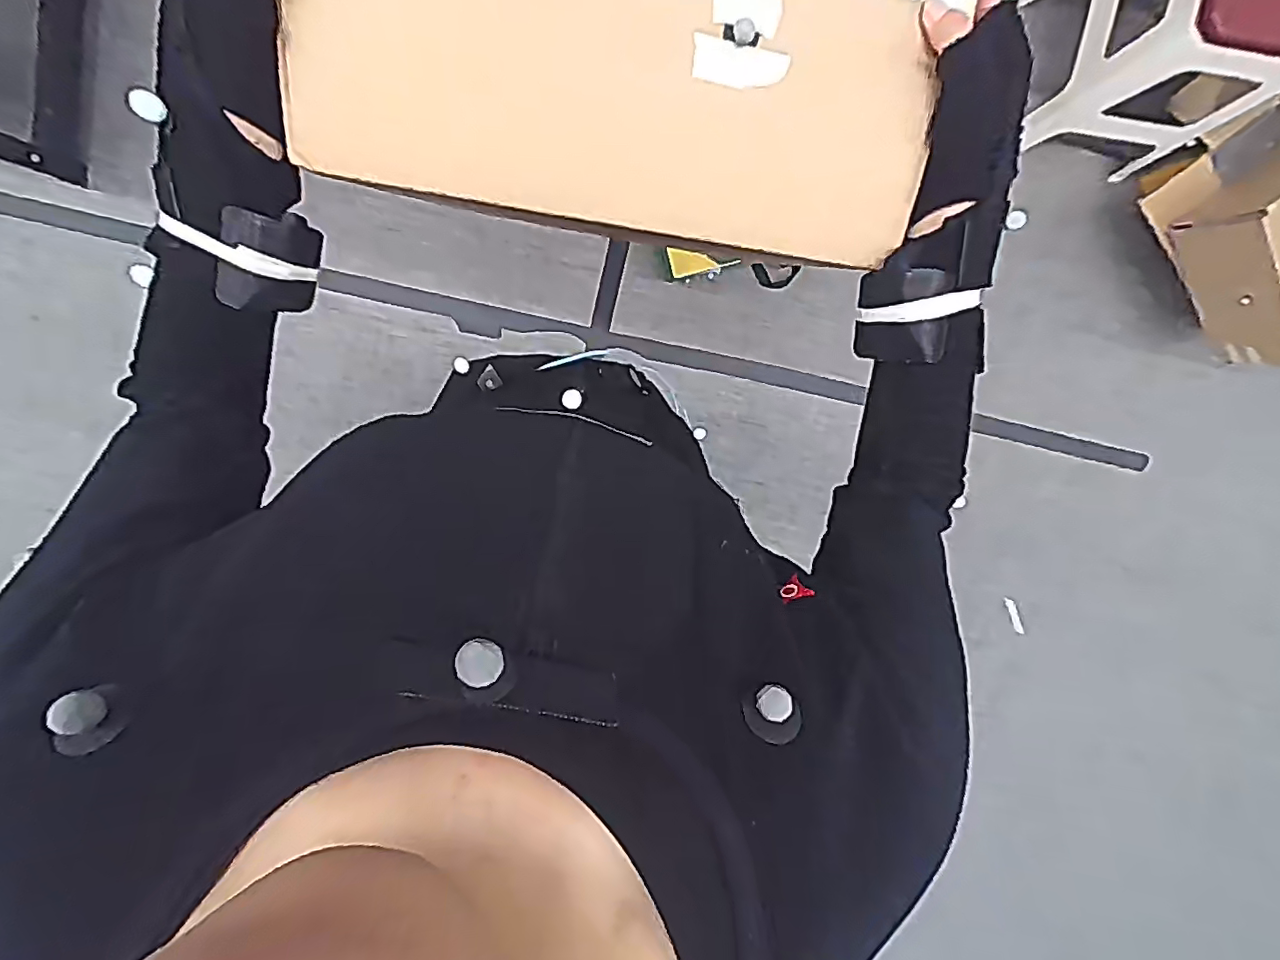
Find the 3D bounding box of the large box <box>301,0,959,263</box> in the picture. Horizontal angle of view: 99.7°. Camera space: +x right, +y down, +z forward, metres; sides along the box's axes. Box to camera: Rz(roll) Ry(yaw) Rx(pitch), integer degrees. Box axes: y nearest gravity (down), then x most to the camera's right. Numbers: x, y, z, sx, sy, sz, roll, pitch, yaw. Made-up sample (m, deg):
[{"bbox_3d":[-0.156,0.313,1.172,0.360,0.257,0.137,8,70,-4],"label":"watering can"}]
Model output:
[{"bbox_3d":[-0.006,-0.378,0.455,0.408,0.320,0.320,7,114,-7],"label":"large box"}]
